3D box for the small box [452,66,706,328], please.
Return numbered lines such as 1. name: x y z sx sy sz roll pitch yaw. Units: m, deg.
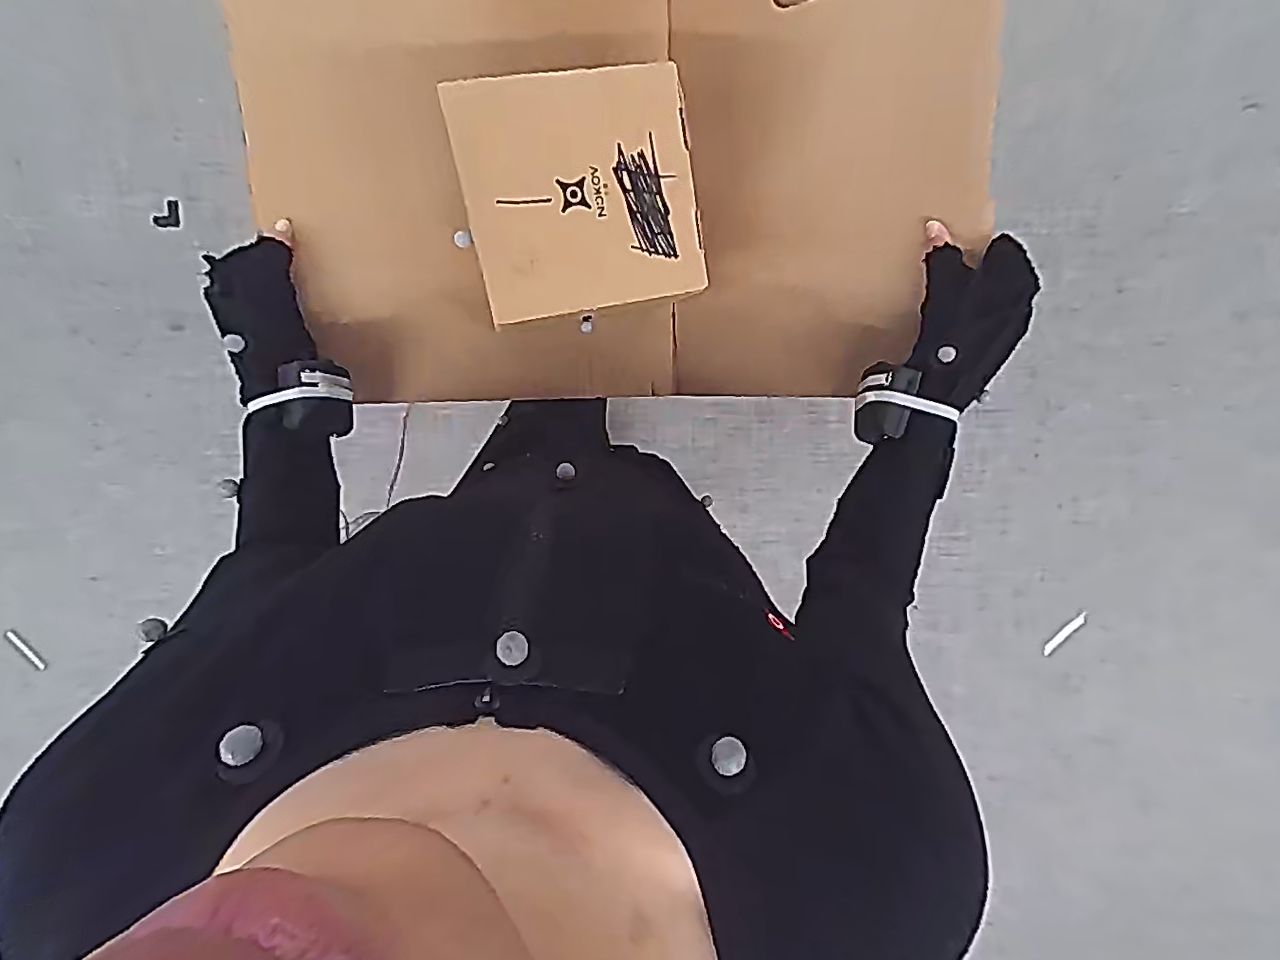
1. small box: -0.058 -0.238 0.493 0.179 0.176 0.168 -13 104 -10
